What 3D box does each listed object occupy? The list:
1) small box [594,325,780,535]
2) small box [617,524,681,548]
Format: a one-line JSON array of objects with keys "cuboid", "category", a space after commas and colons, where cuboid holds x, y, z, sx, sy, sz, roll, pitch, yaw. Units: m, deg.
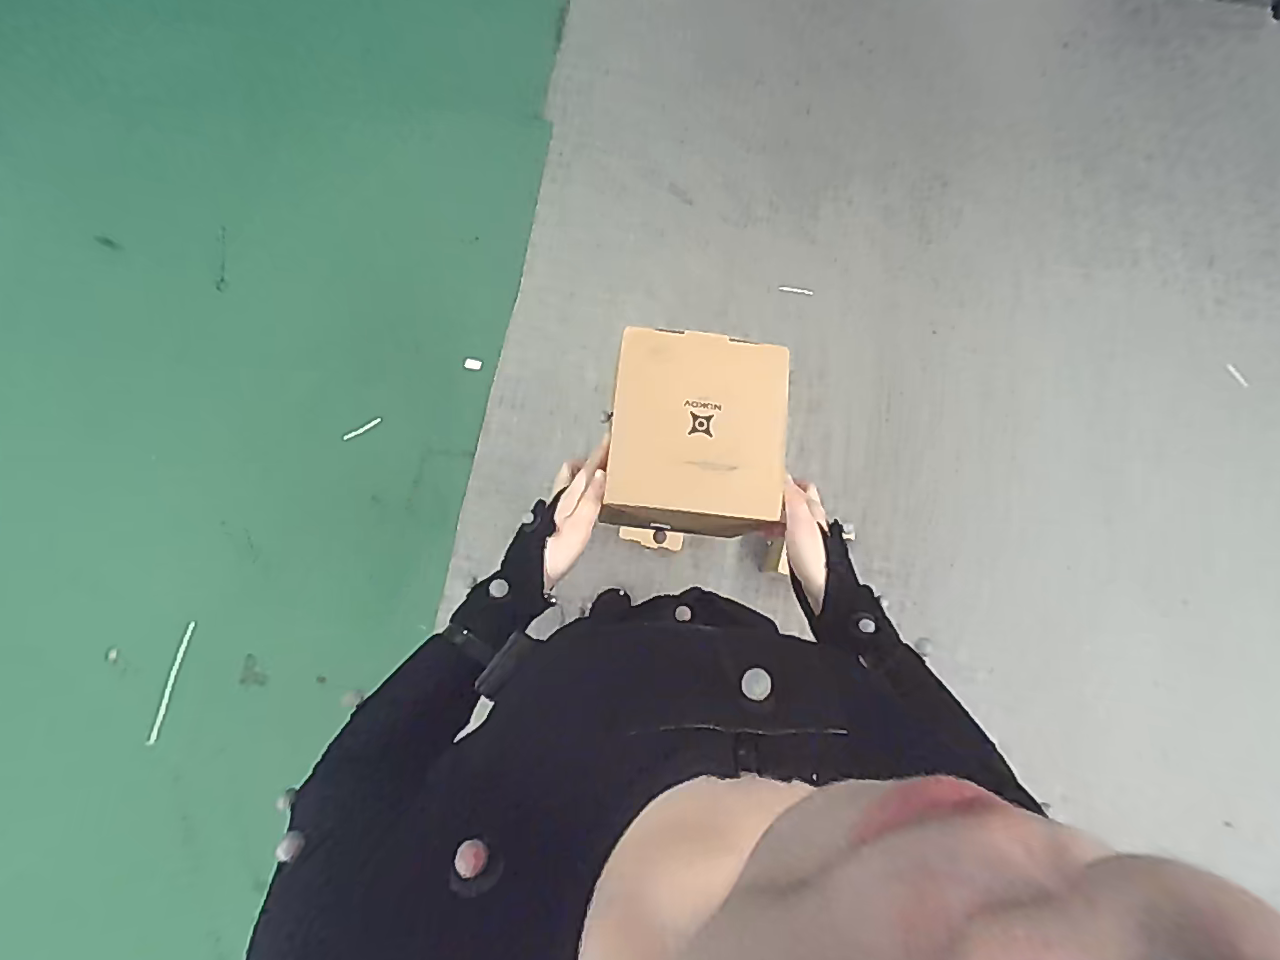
[{"cuboid": [0.041, -0.042, 0.591, 0.168, 0.176, 0.179, 7, 79, -5], "category": "small box"}, {"cuboid": [0.039, 0.085, 1.488, 0.168, 0.176, 0.179, 14, 79, 1], "category": "small box"}]
